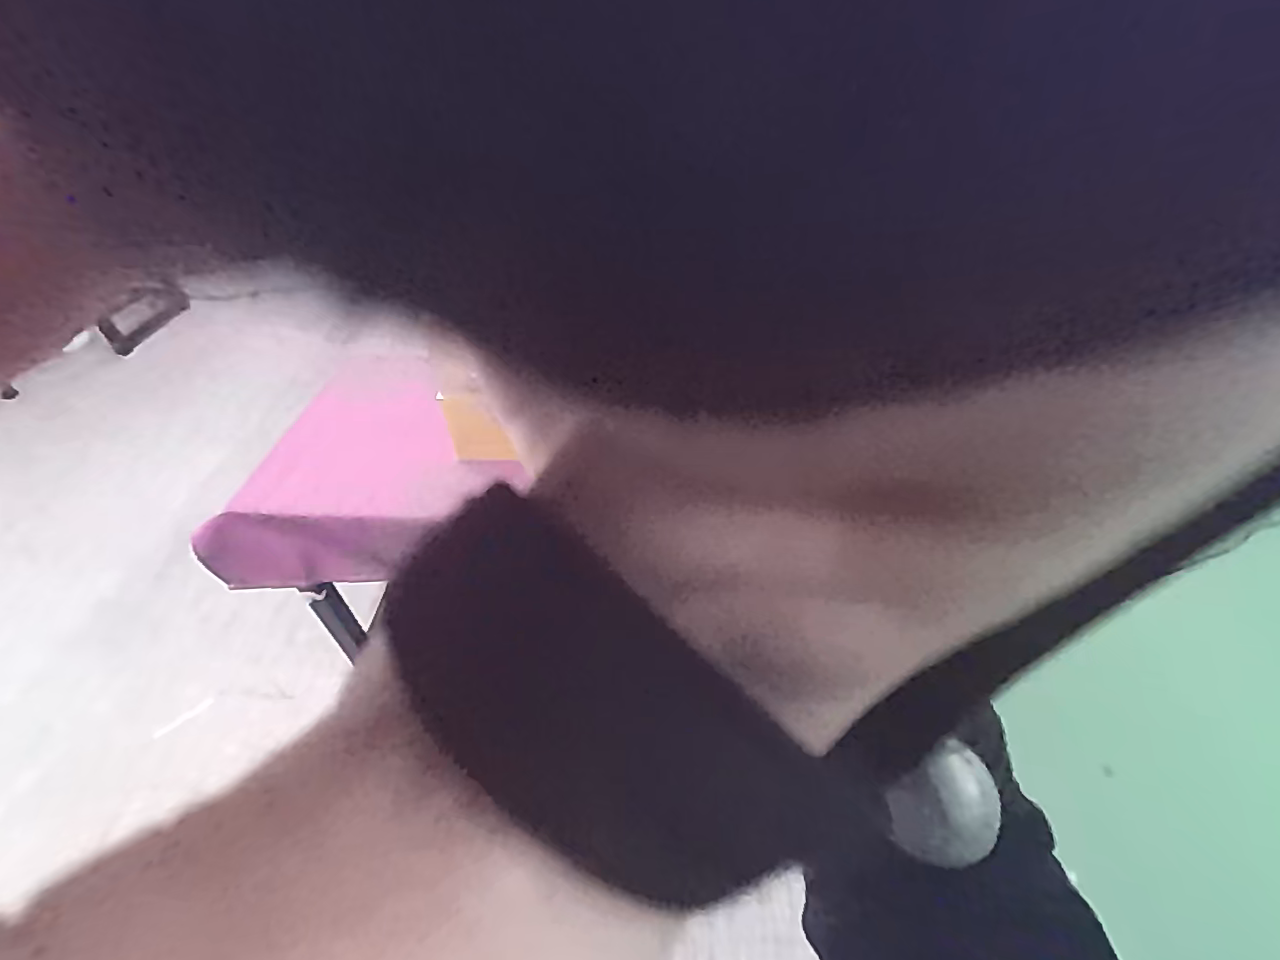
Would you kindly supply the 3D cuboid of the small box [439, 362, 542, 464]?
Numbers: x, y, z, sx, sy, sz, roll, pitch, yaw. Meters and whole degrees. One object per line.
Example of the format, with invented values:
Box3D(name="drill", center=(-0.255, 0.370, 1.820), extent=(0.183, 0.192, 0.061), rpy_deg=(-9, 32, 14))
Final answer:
Box3D(name="small box", center=(-0.321, -0.148, 1.197), extent=(0.179, 0.176, 0.168), rpy_deg=(-1, 42, -2))
